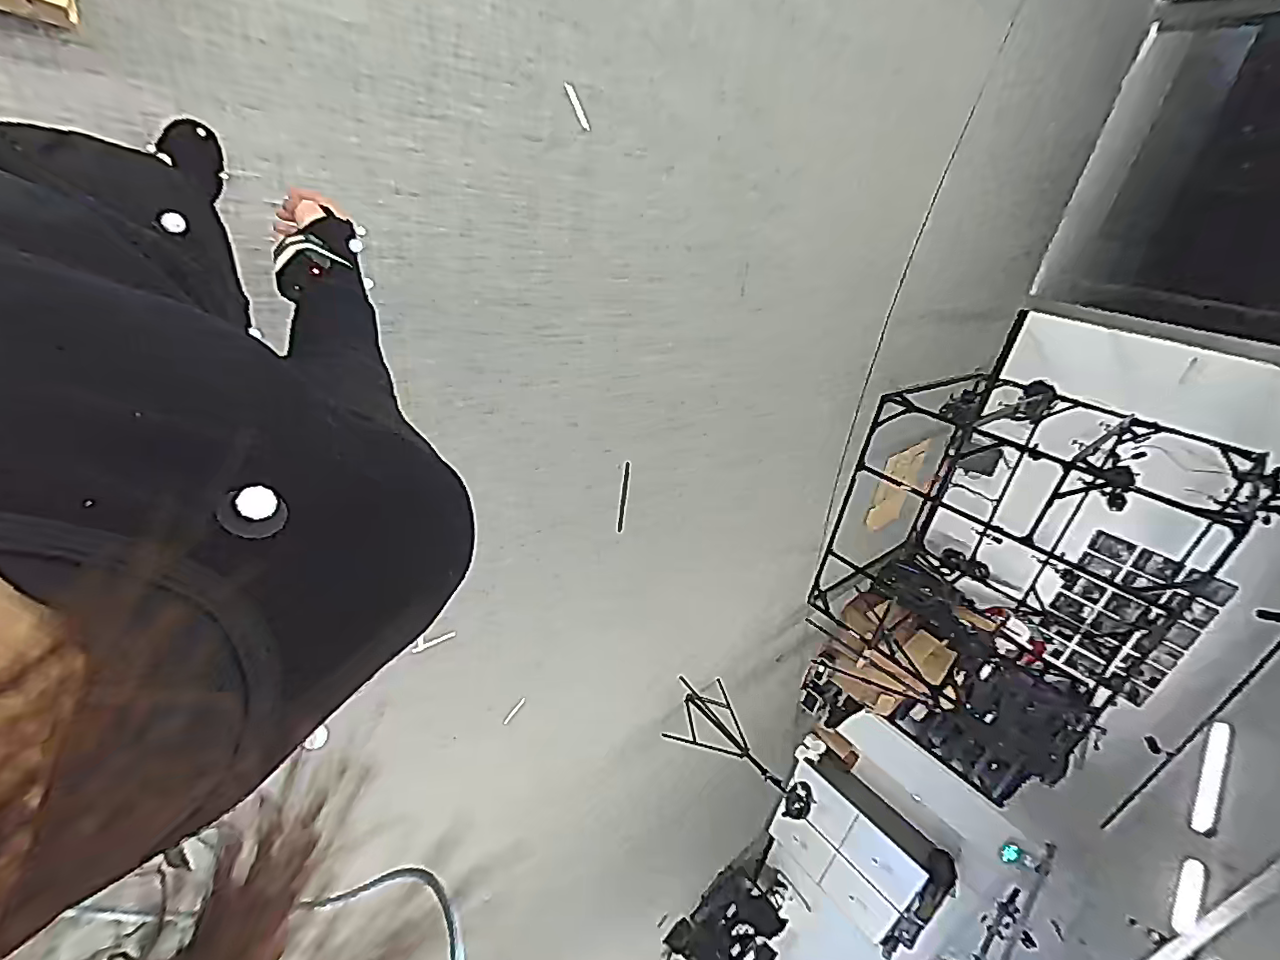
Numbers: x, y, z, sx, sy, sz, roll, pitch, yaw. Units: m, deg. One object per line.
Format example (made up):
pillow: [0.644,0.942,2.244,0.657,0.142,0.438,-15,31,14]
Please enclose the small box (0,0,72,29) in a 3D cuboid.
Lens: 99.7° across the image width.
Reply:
small box: [-1.014,-0.835,0.835,0.168,0.176,0.179,-12,124,-41]
